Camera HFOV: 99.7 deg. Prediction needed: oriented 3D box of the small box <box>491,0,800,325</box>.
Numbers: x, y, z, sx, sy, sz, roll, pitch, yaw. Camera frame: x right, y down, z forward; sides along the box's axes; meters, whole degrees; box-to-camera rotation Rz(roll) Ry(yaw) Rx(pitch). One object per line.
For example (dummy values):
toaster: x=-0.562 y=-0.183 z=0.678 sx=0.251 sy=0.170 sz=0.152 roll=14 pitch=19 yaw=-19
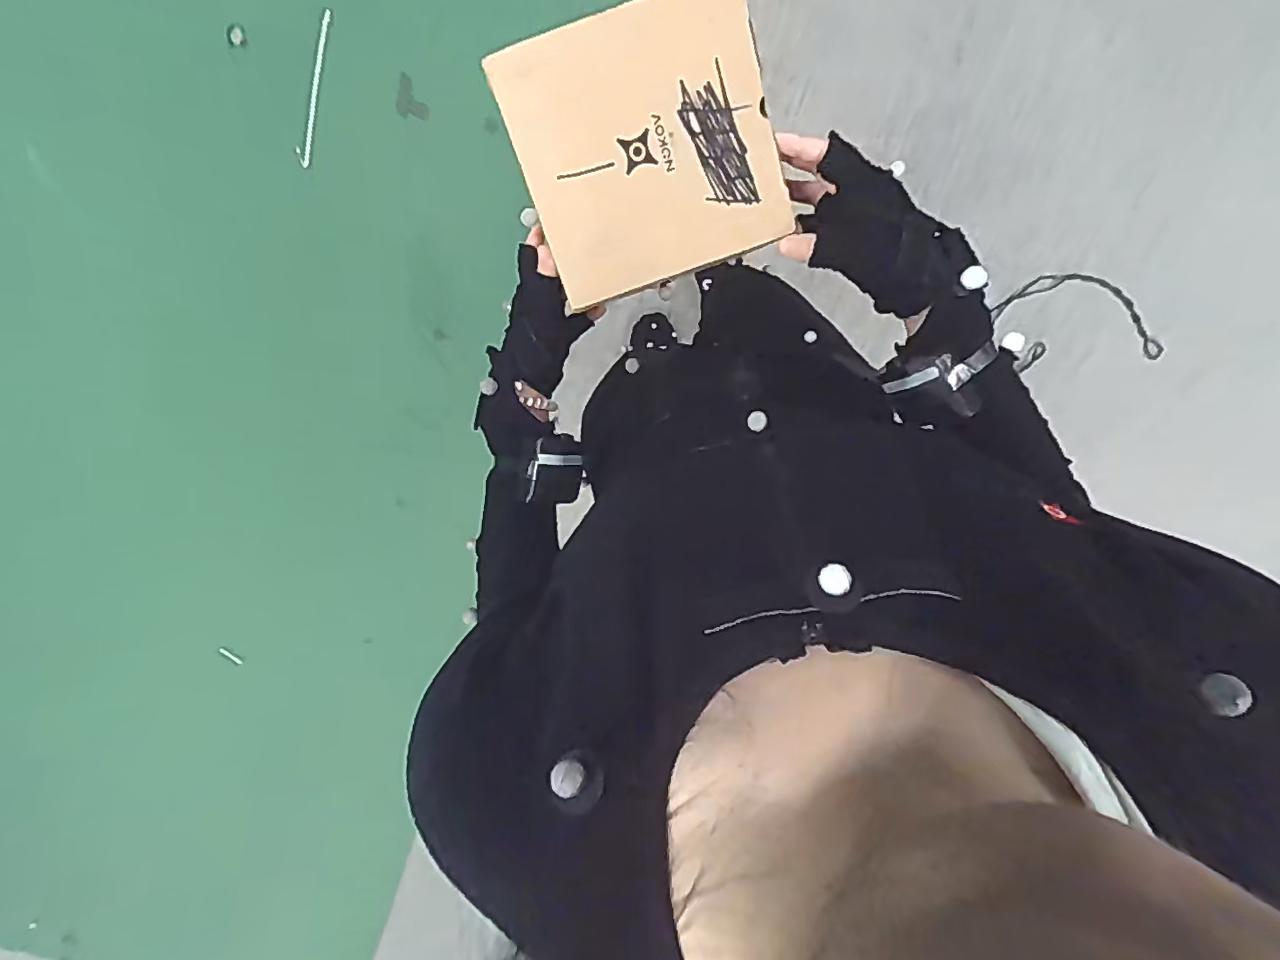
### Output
small box: x=0.003 y=-0.236 z=0.440 sx=0.179 sy=0.176 sz=0.168 roll=-19 pitch=107 yaw=2
